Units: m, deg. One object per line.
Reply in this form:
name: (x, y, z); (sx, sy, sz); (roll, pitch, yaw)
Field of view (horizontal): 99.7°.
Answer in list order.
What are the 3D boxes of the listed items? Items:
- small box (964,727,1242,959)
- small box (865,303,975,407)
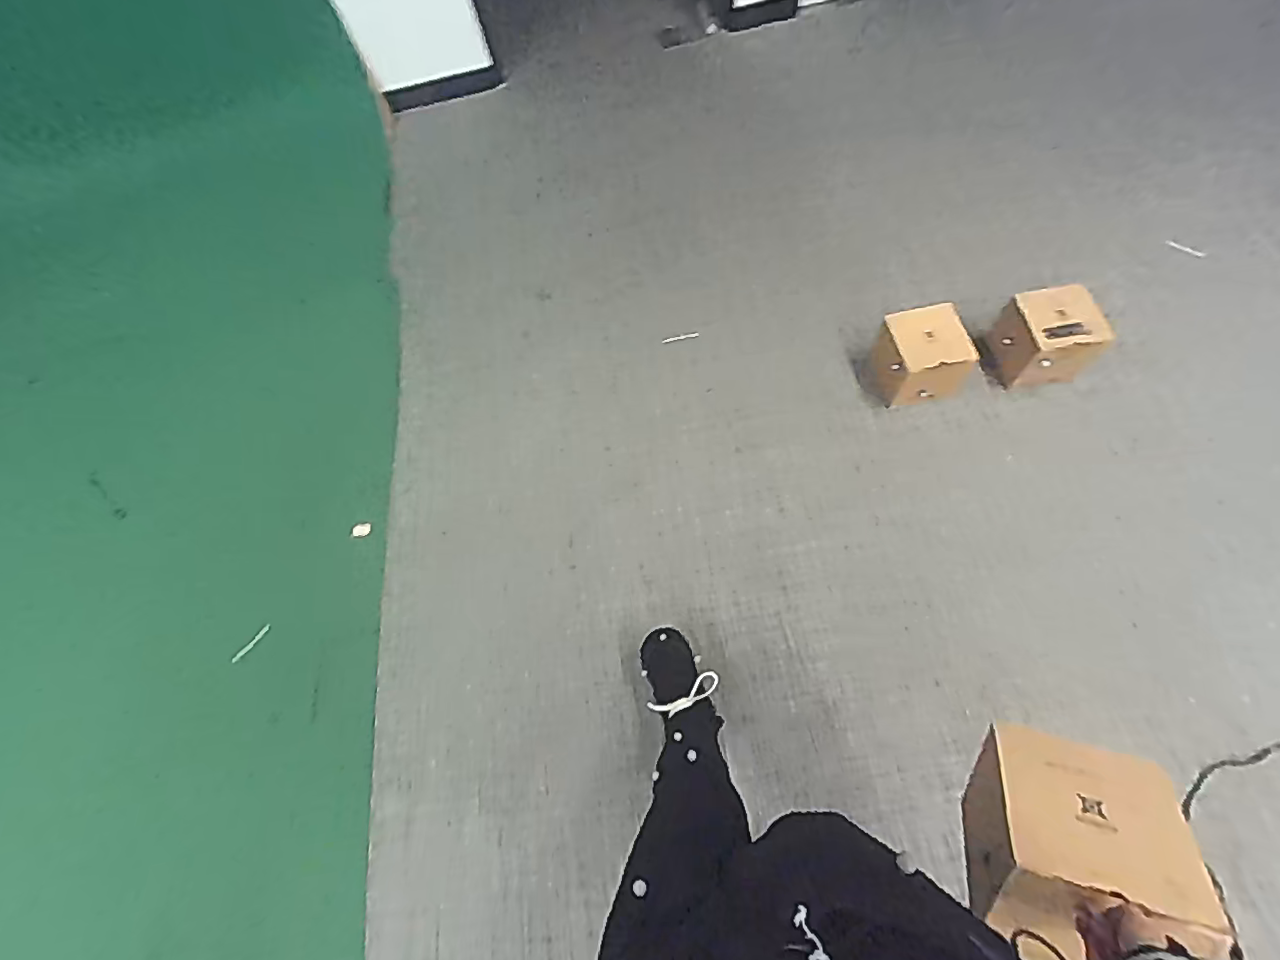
small box: (0.464, 0.415, 0.581); (0.168, 0.176, 0.179); (11, 29, 22)
small box: (0.695, -0.312, 1.368); (0.168, 0.176, 0.179); (-11, 66, 1)
